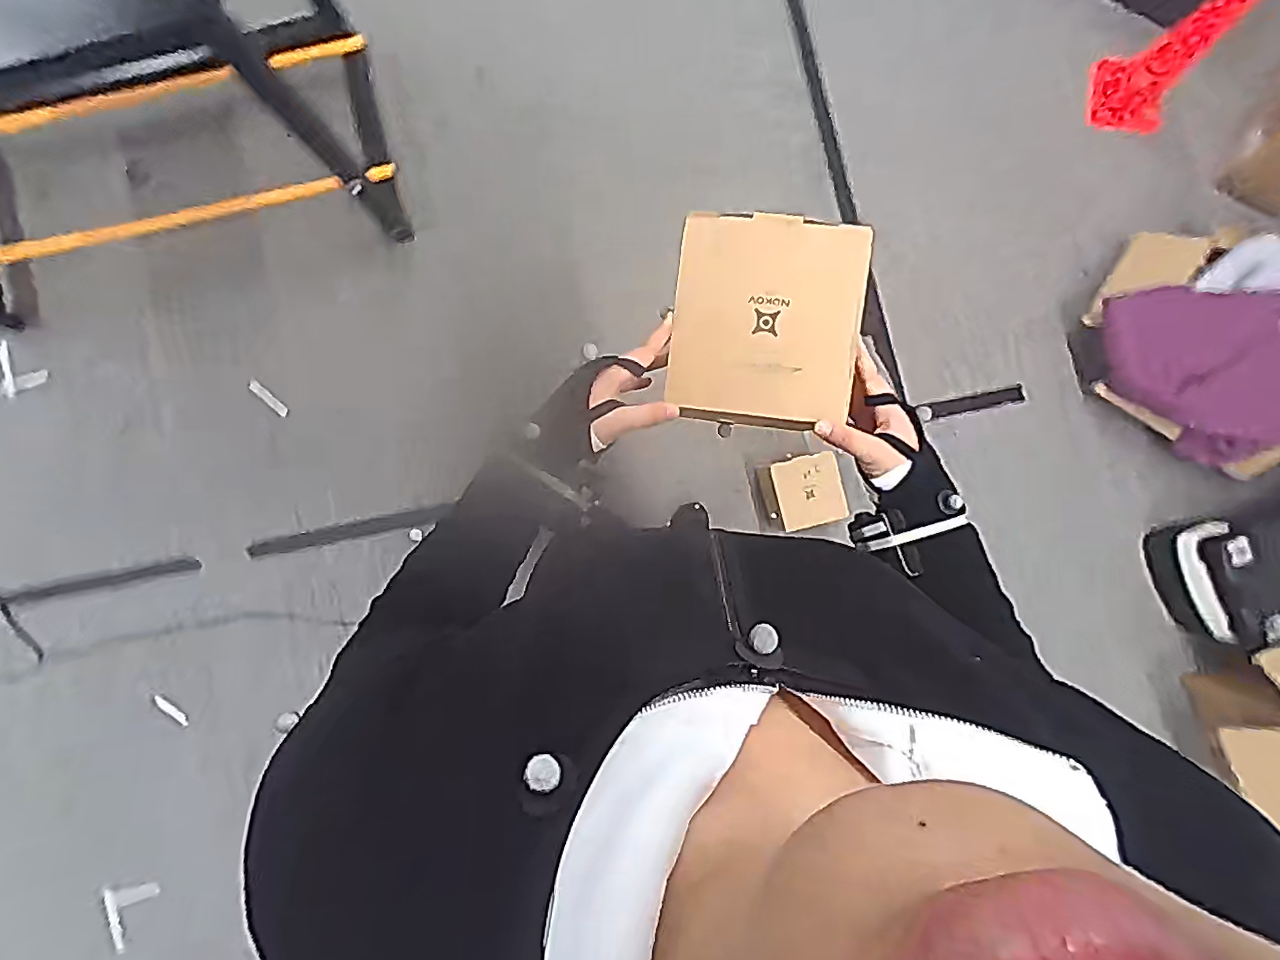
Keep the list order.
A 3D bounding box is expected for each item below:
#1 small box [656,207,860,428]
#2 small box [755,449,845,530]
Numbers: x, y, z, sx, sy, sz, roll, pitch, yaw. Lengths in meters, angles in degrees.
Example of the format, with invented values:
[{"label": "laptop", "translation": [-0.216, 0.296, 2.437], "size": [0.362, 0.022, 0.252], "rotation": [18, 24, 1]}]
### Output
[{"label": "small box", "translation": [0.107, -0.152, 0.561], "size": [0.168, 0.176, 0.179], "rotation": [7, 94, 3]}, {"label": "small box", "translation": [0.415, 0.024, 1.428], "size": [0.168, 0.176, 0.179], "rotation": [-13, 88, 0]}]
